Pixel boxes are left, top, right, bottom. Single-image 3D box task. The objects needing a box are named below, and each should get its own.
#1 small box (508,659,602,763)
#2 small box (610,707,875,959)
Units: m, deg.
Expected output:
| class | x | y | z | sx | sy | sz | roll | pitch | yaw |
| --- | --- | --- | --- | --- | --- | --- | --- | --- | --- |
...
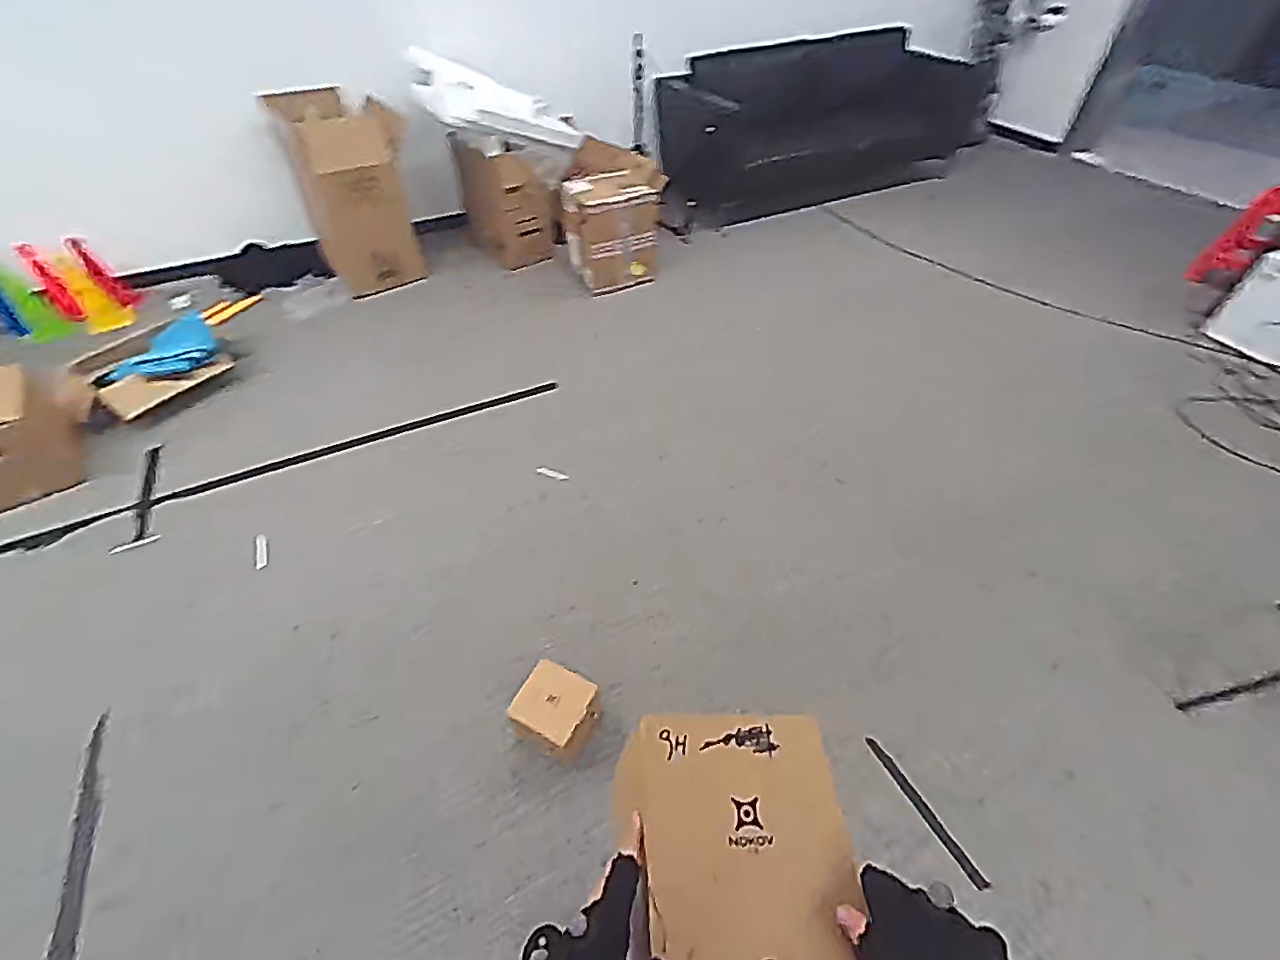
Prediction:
| class | x | y | z | sx | sy | sz | roll | pitch | yaw |
| --- | --- | --- | --- | --- | --- | --- | --- | --- | --- |
| small box | -0.209 | 0.601 | 1.397 | 0.179 | 0.176 | 0.168 | 20 | 49 | 19 |
| small box | 0.066 | 0.318 | 0.474 | 0.168 | 0.176 | 0.179 | 4 | 46 | -10 |
